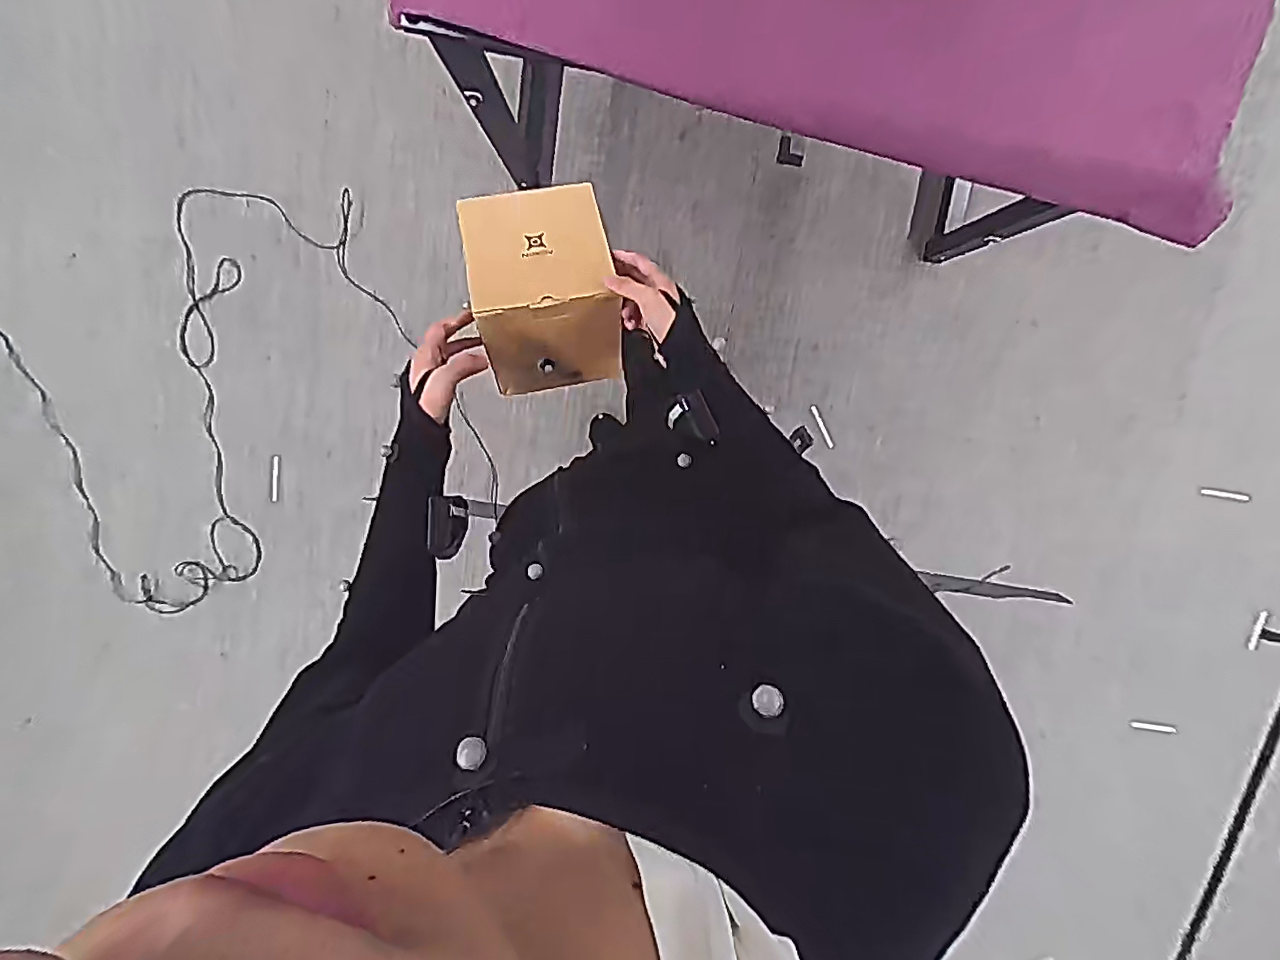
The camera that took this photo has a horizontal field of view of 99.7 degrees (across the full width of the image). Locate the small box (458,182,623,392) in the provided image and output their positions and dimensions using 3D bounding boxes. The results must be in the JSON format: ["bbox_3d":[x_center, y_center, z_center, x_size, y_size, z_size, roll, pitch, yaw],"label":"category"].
[{"bbox_3d":[-0.121,-0.239,0.689,0.168,0.176,0.179,-12,69,-7],"label":"small box"}]
